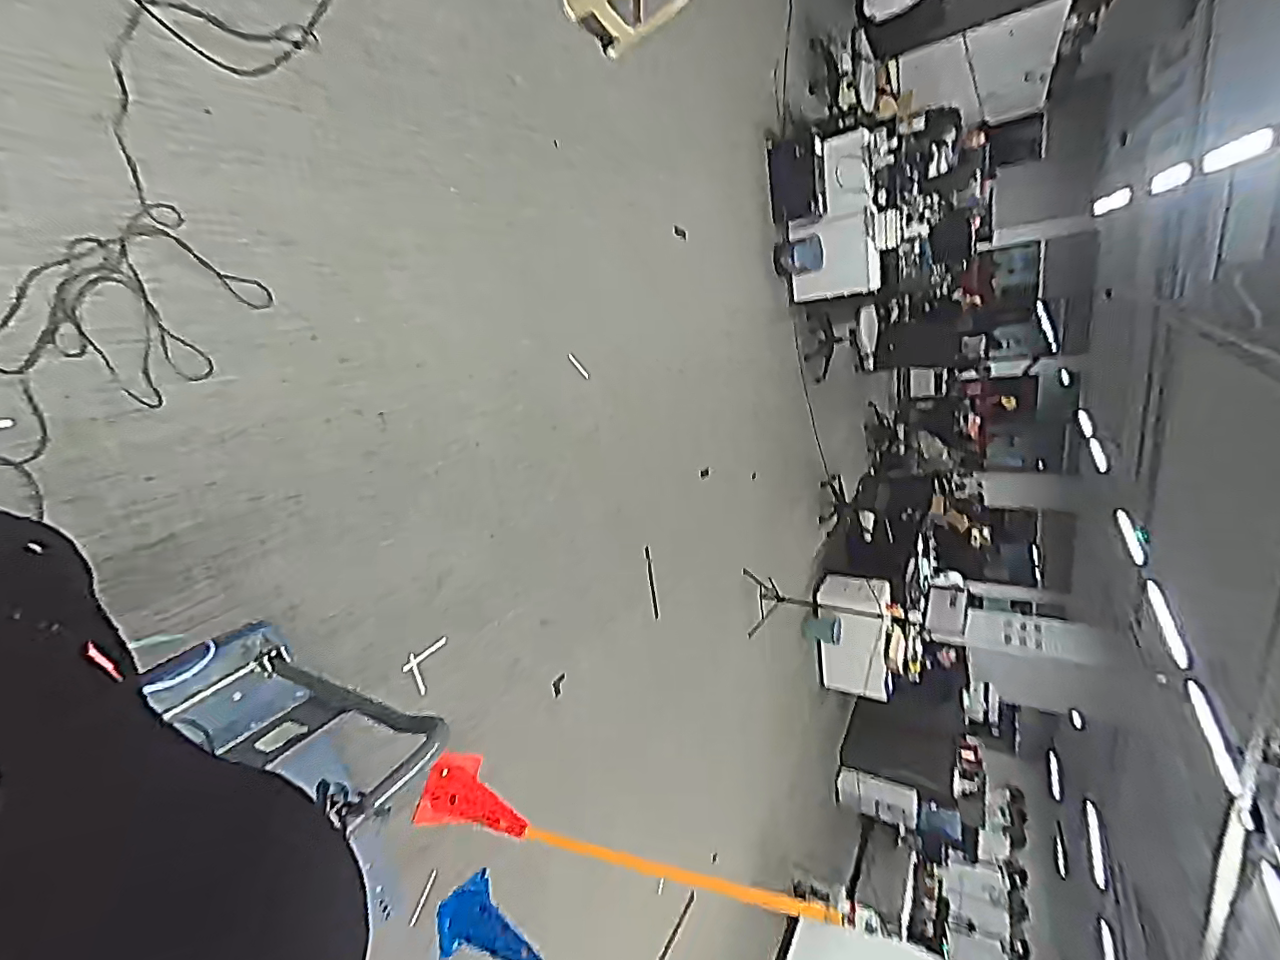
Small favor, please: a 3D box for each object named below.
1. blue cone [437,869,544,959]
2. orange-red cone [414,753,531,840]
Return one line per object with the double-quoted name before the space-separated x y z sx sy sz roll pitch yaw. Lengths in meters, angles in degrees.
"blue cone" -0.442 1.414 1.673 0.193 0.380 0.192 -8 97 -56
"orange-red cone" -0.458 0.977 1.600 0.198 0.360 0.199 41 60 -48
